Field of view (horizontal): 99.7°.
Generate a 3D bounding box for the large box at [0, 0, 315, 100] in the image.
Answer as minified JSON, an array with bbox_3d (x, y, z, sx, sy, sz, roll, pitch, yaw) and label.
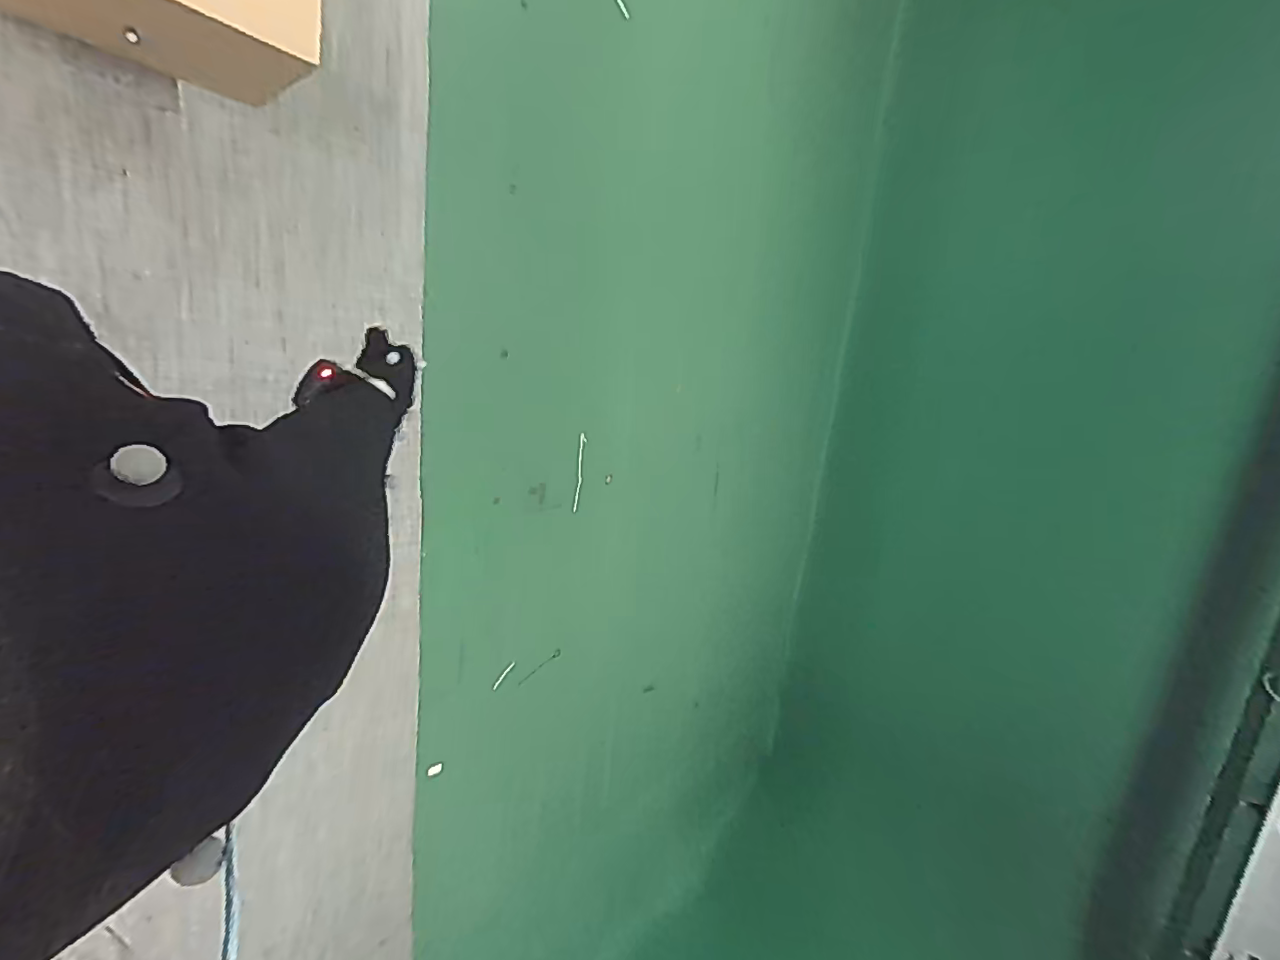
[{"bbox_3d":[-0.741,-0.827,0.778,0.408,0.320,0.320,-6,106,-49],"label":"large box"}]
